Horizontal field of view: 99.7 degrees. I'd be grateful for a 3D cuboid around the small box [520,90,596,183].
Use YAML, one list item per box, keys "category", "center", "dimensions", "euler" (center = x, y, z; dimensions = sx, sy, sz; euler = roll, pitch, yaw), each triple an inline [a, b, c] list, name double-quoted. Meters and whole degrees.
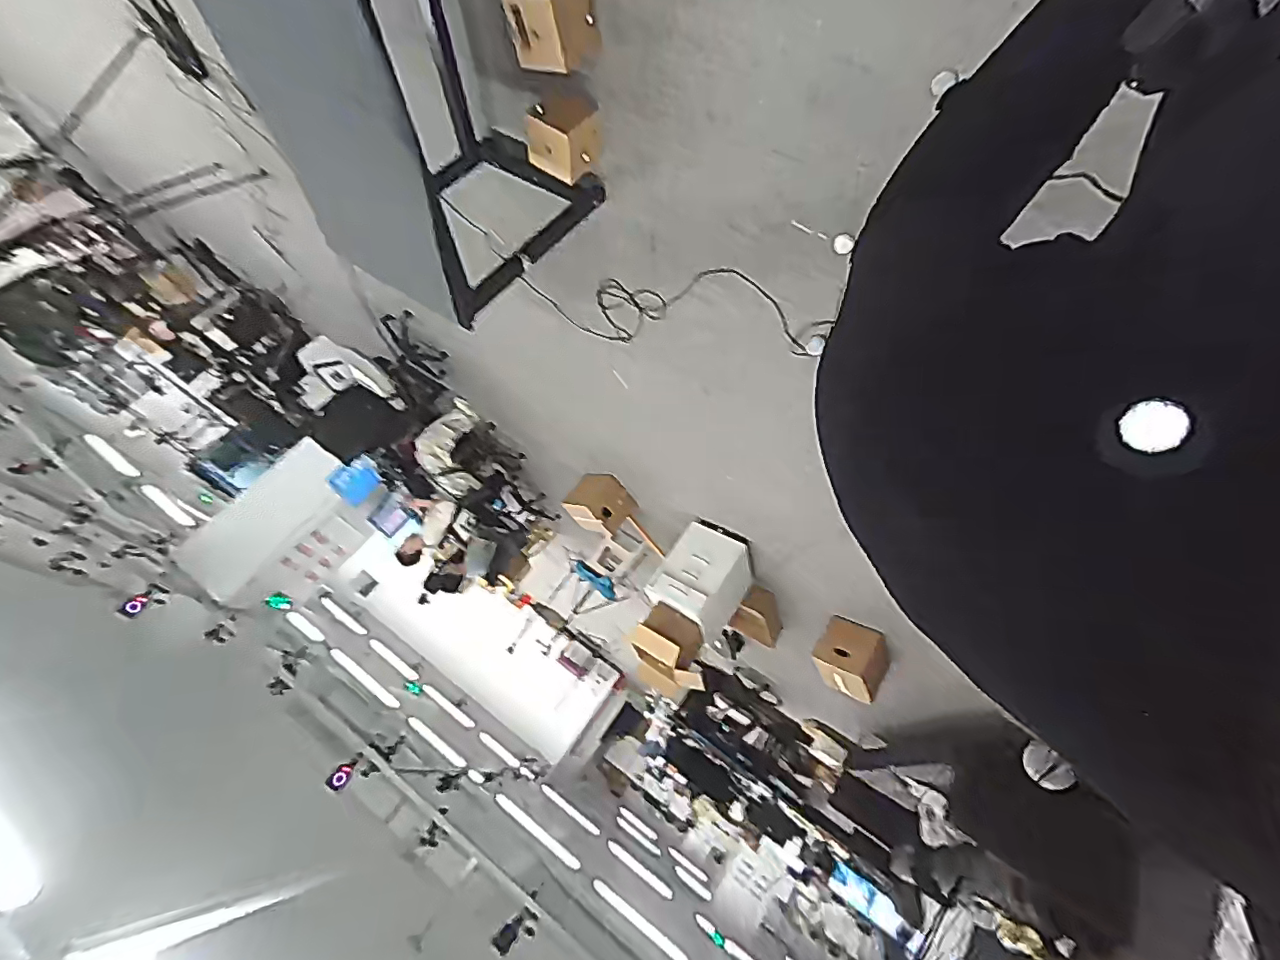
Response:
- category: "small box"
  center: [-0.254, -1.105, 1.732]
  dimensions: [0.179, 0.176, 0.168]
  euler: [34, 157, 11]
